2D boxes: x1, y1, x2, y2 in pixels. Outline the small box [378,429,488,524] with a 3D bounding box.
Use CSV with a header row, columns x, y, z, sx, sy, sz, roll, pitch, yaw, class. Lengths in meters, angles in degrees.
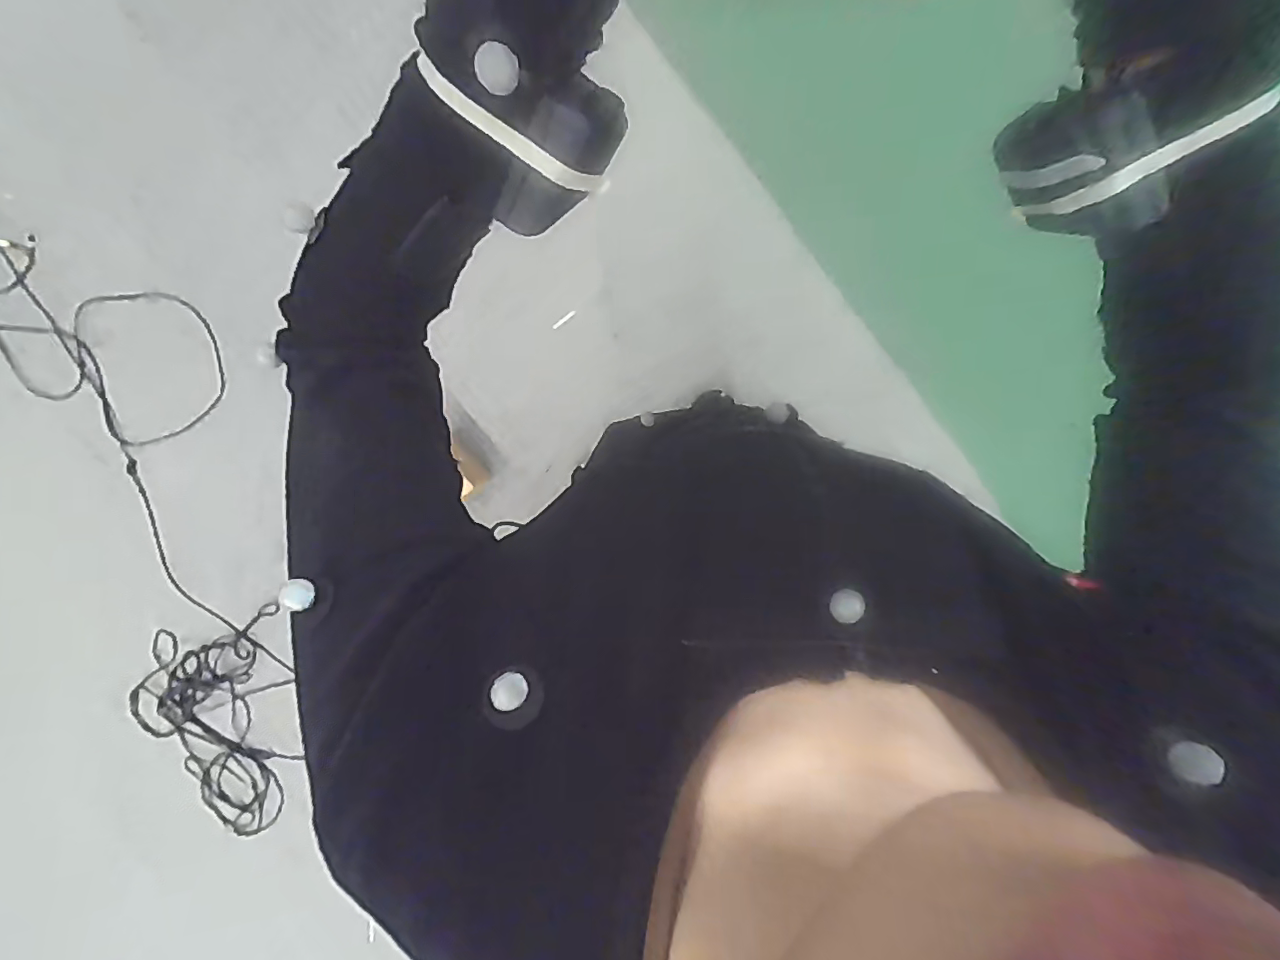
x,y,z,sx,sy,sz,roll,pitch,yaw,class
-0.522,-0.016,1.387,0.168,0.176,0.179,-41,97,4,small box
